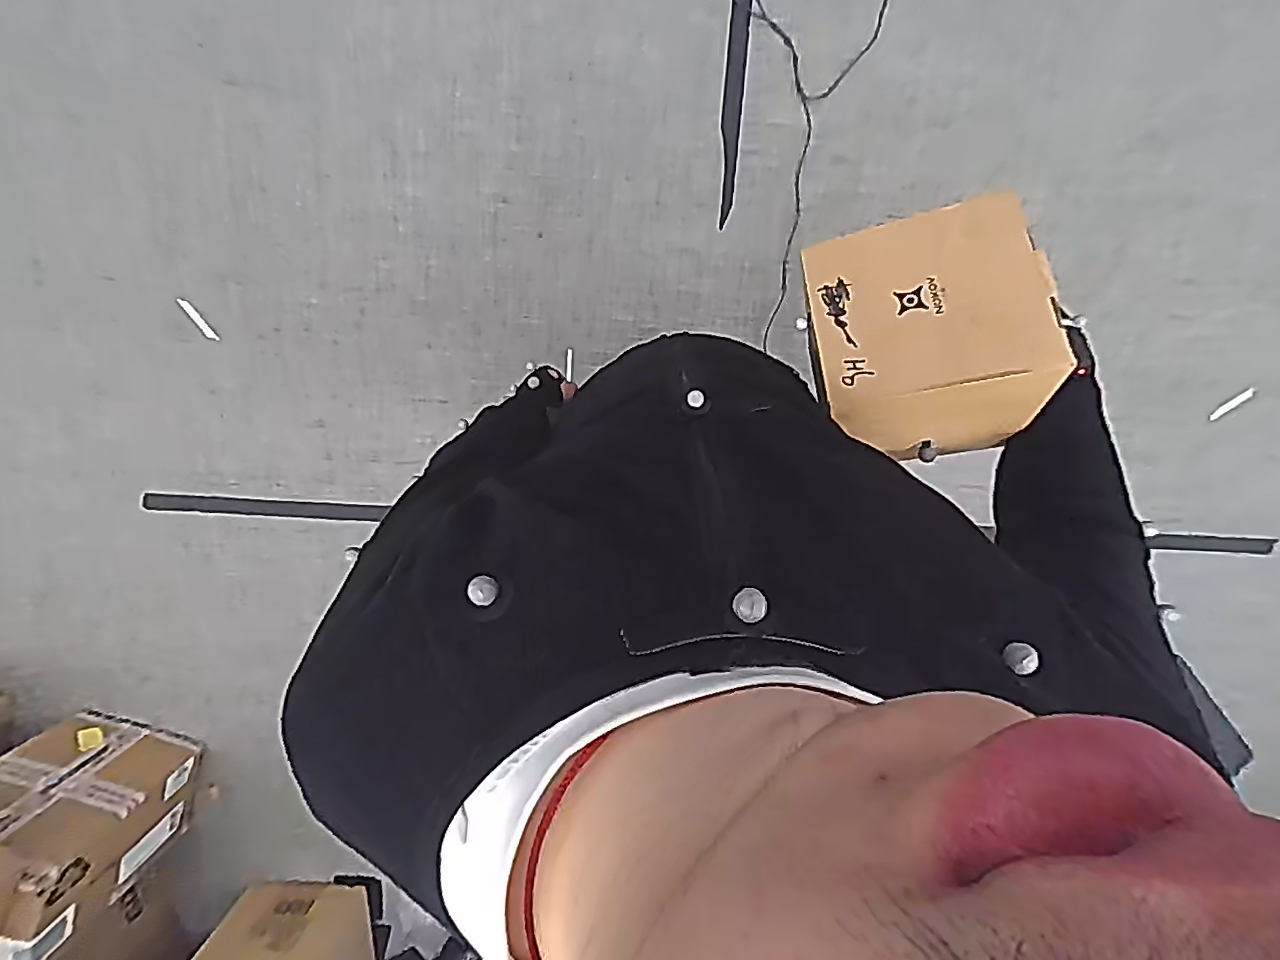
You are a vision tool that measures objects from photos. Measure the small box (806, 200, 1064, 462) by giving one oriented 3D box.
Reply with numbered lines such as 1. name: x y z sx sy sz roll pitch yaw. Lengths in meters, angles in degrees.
1. small box: 0.264 -0.129 0.532 0.179 0.176 0.168 -8 69 16
